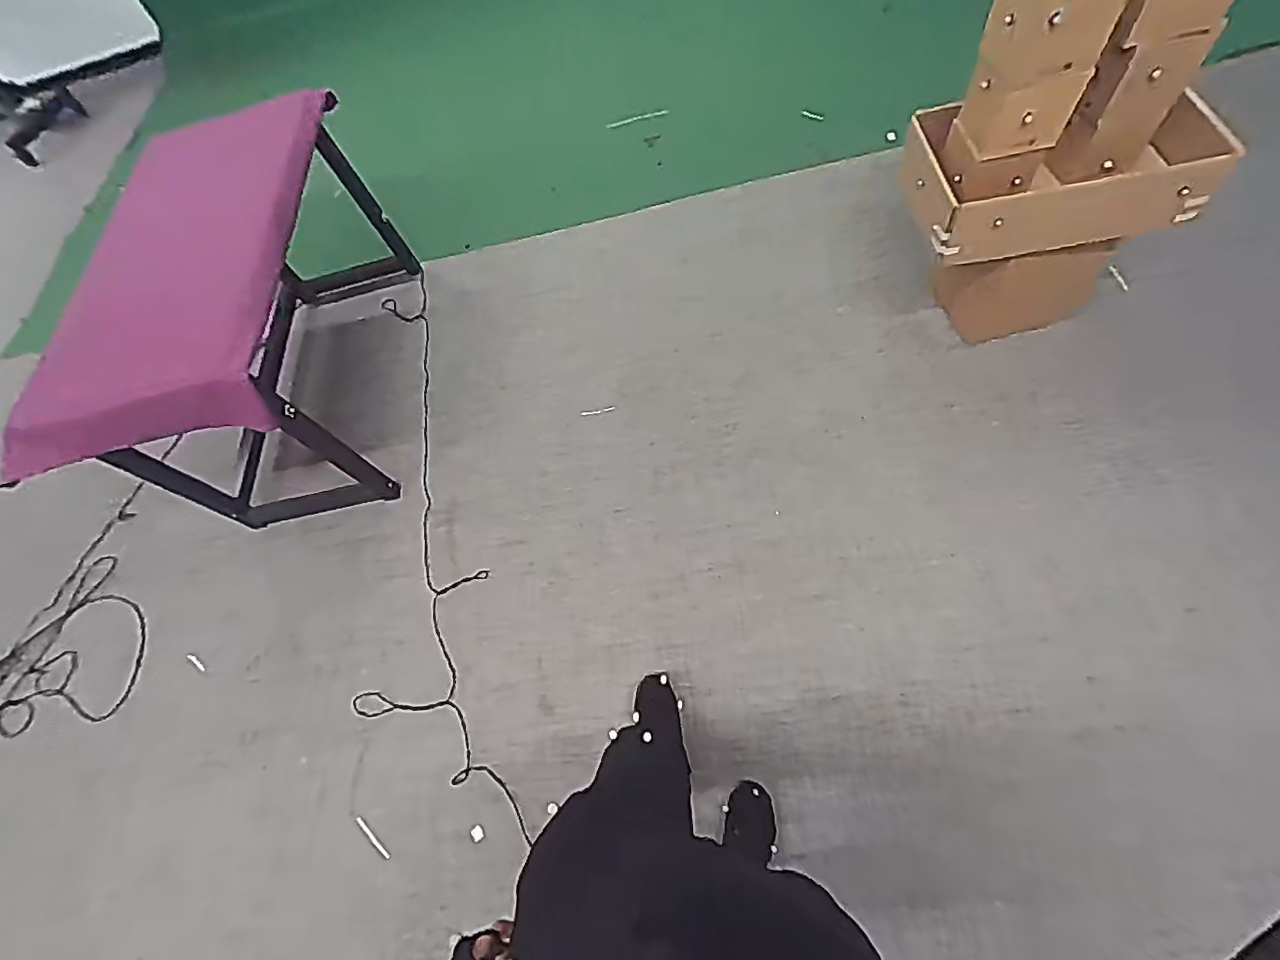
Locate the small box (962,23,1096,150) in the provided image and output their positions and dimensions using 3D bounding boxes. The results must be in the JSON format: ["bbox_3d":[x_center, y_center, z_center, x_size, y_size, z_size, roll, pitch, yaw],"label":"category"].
[{"bbox_3d":[0.877,-0.888,1.239,0.168,0.176,0.179,-9,63,7],"label":"small box"}]

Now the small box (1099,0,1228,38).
[{"bbox_3d":[1.079,-1.032,1.075,0.179,0.176,0.168,-7,62,11],"label":"small box"}]

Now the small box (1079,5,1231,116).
[{"bbox_3d":[1.131,-0.965,1.218,0.179,0.176,0.168,-14,63,8],"label":"small box"}]
